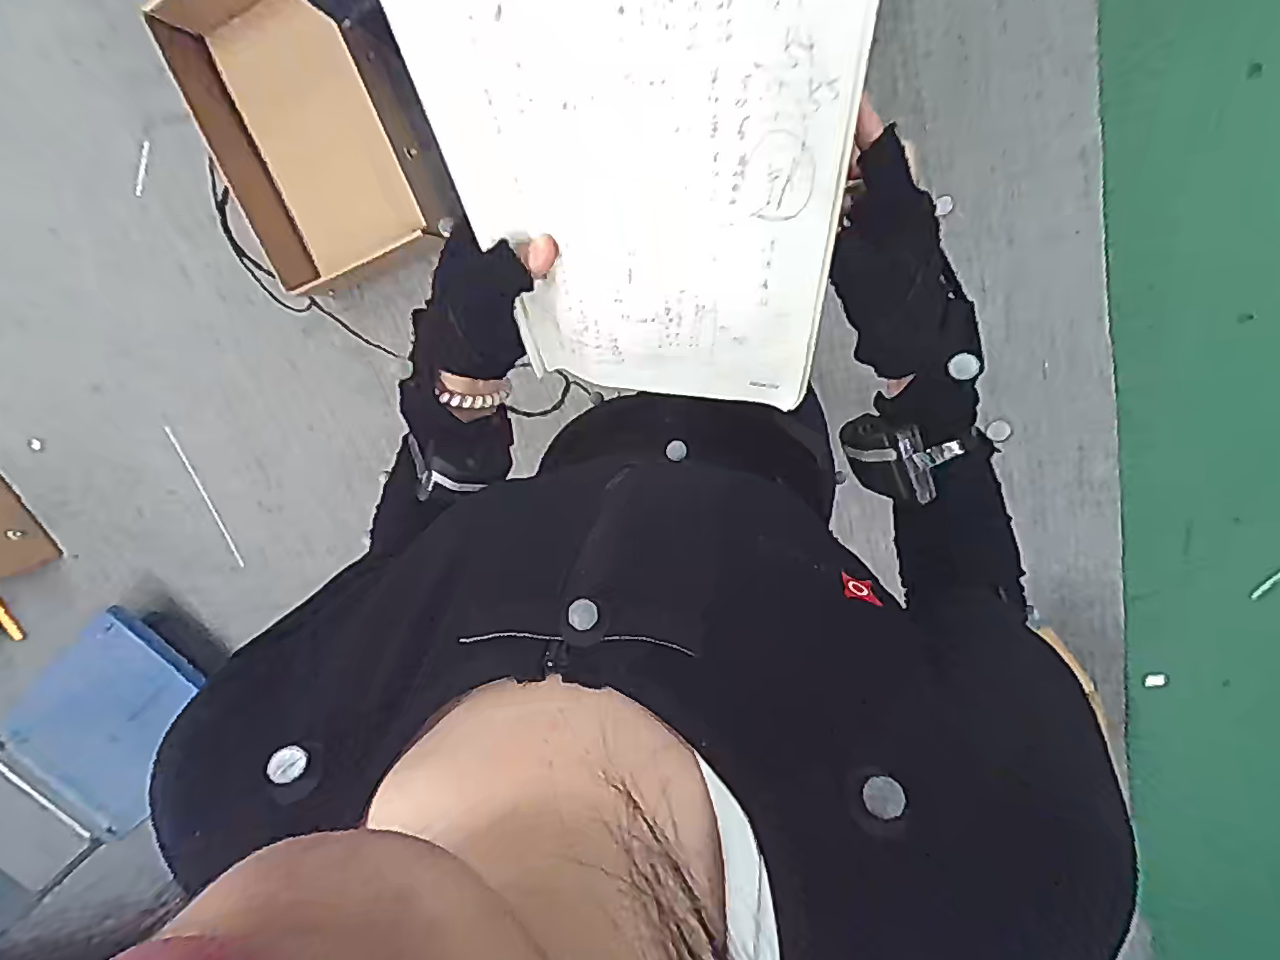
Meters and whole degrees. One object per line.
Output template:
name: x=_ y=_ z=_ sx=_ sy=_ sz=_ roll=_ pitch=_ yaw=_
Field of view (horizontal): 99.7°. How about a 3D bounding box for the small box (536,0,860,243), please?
small box: x=0.038 y=-0.268 z=0.351 sx=0.168 sy=0.176 sz=0.179 roll=0 pitch=126 yaw=9
